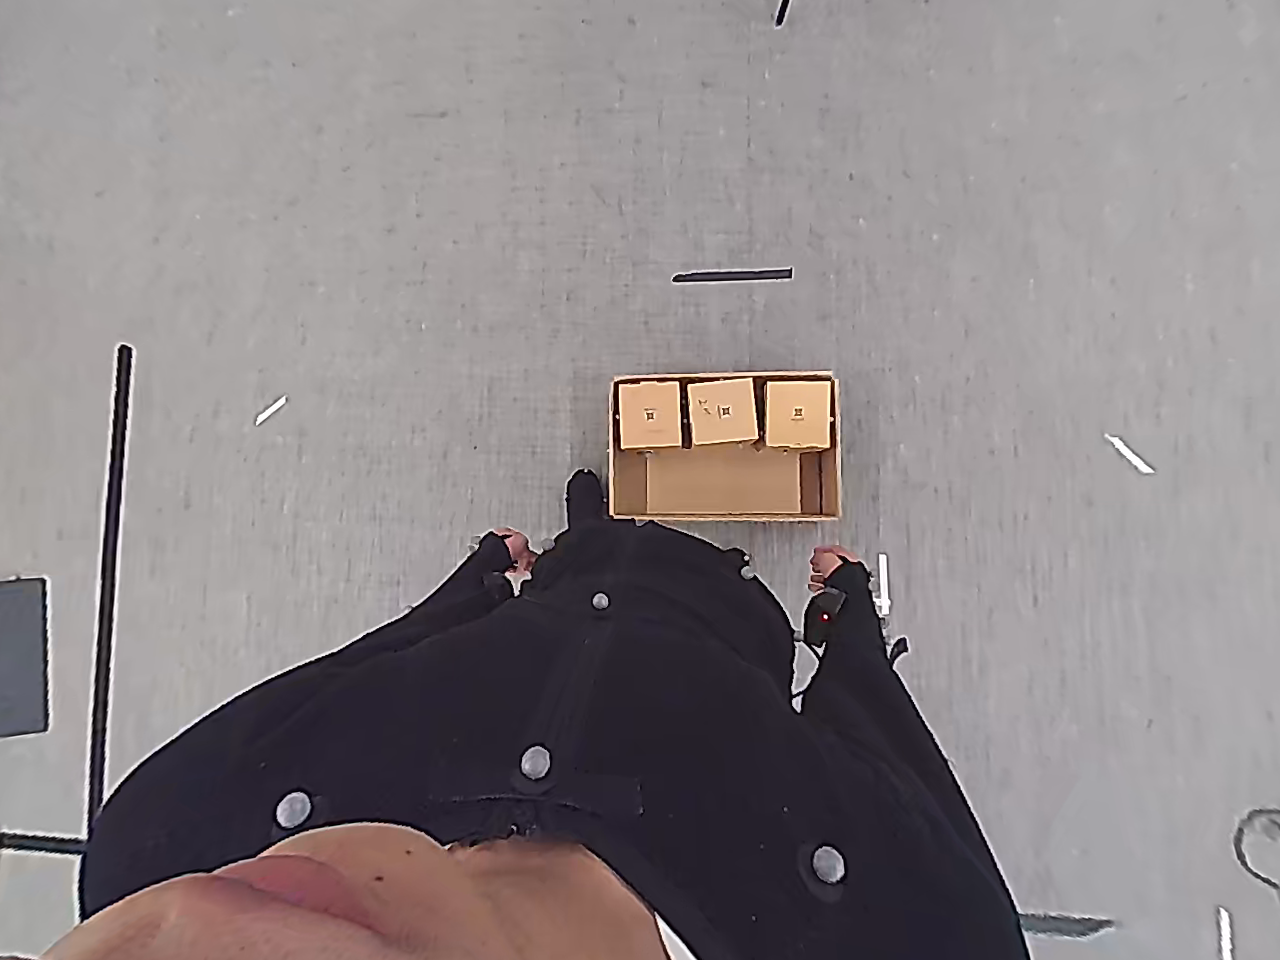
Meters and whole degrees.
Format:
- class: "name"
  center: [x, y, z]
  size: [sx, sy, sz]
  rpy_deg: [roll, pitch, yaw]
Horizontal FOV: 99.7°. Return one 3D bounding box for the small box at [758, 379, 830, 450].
- class: "small box"
  center: [0.420, -0.176, 1.496]
  size: [0.168, 0.176, 0.179]
  rpy_deg: [0, 90, 5]
